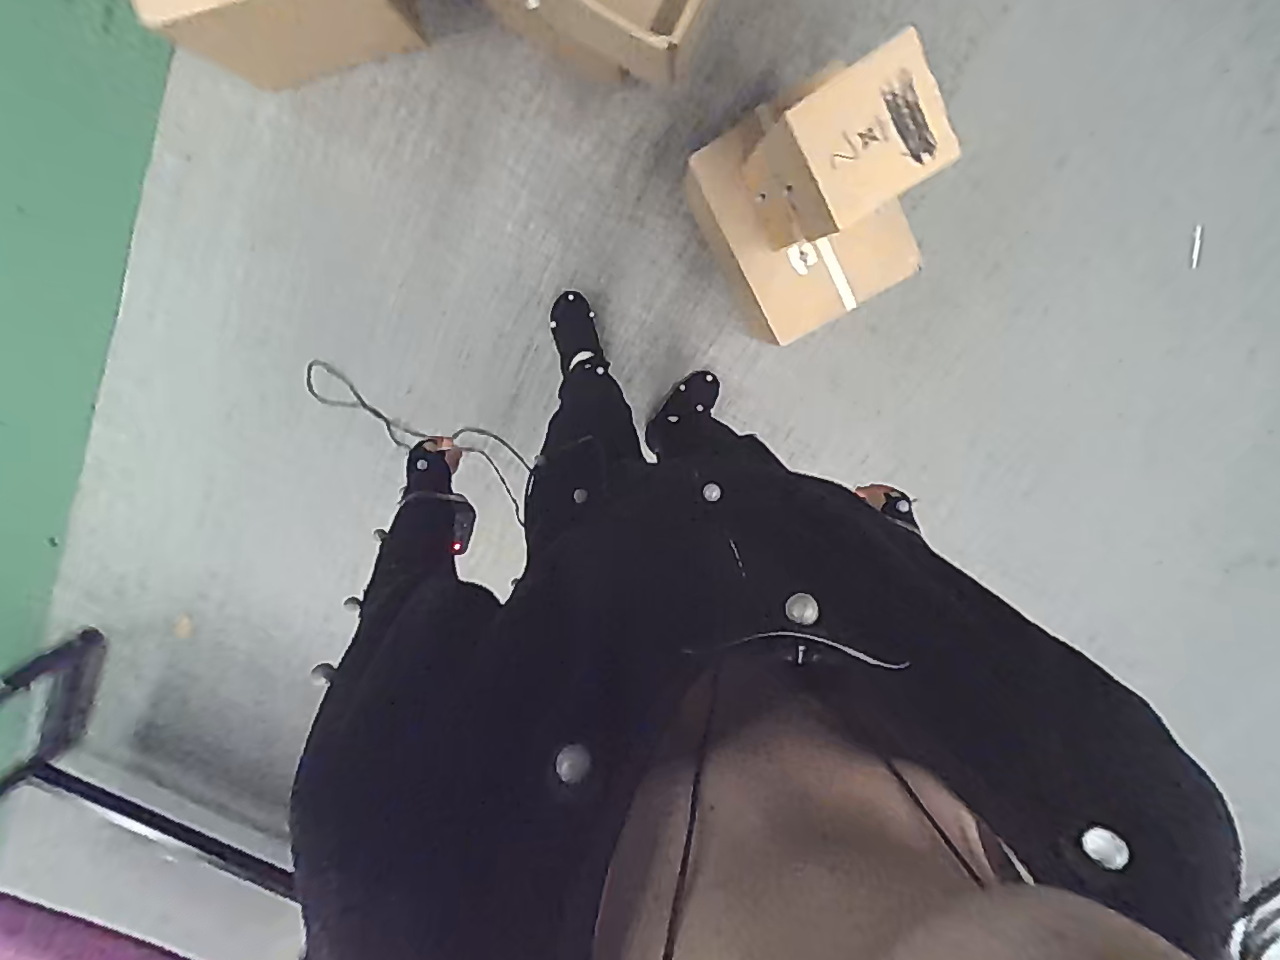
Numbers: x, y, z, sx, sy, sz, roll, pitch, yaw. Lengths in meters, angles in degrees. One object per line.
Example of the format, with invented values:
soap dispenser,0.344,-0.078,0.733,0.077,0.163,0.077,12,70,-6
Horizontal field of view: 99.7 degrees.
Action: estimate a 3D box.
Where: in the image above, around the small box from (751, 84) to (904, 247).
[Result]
small box,0.309,-0.519,0.921,0.179,0.176,0.168,-24,105,9
